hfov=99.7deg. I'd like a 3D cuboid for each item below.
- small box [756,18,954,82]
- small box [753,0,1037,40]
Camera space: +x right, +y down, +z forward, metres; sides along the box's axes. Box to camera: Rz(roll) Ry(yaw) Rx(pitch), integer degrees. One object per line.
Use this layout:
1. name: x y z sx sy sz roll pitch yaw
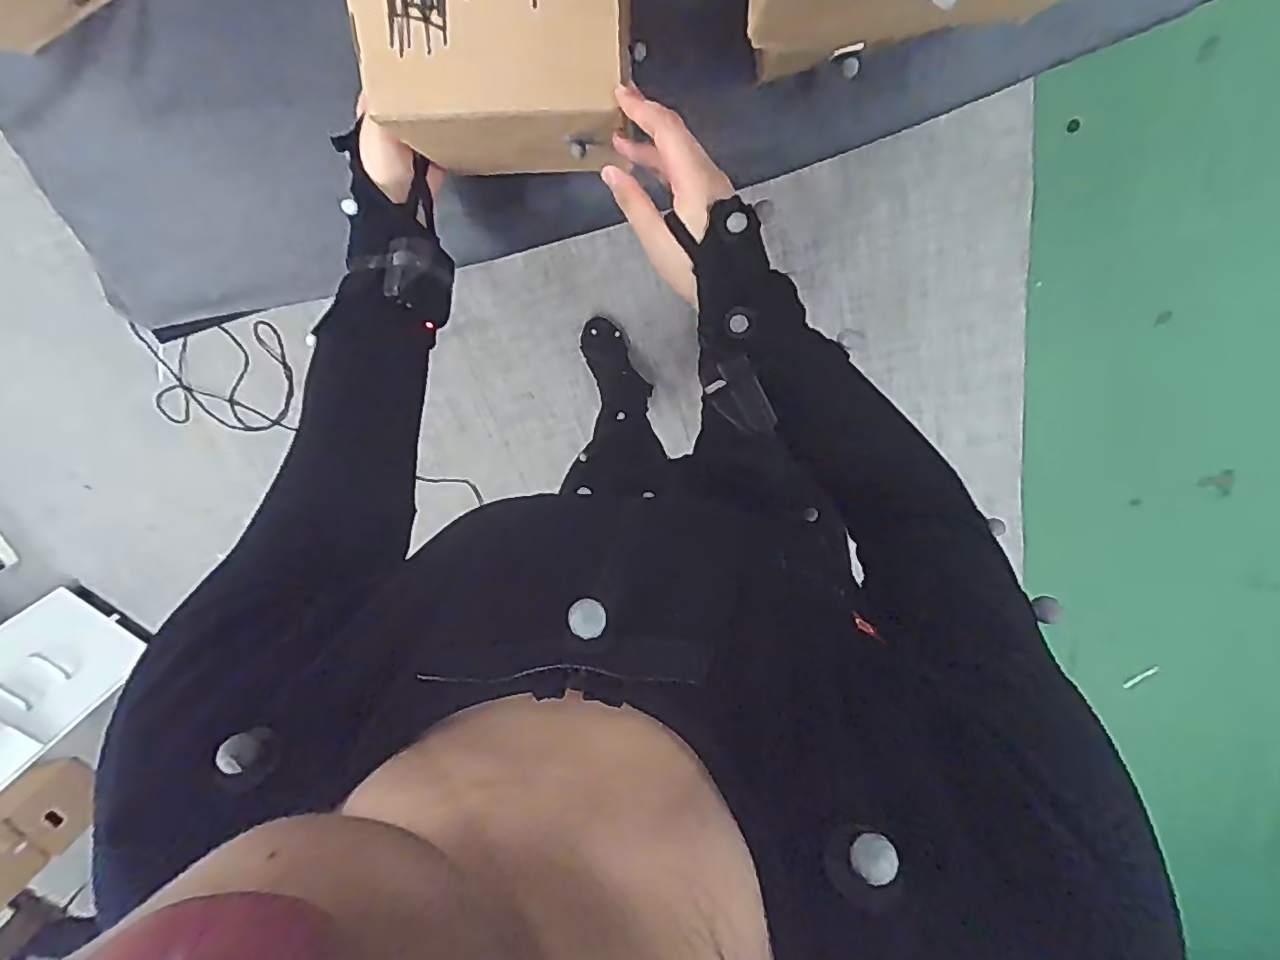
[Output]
1. small box: 0.160 -0.409 0.368 0.168 0.176 0.179 -10 118 13
2. small box: 0.145 -0.318 0.233 0.179 0.176 0.168 0 118 9
